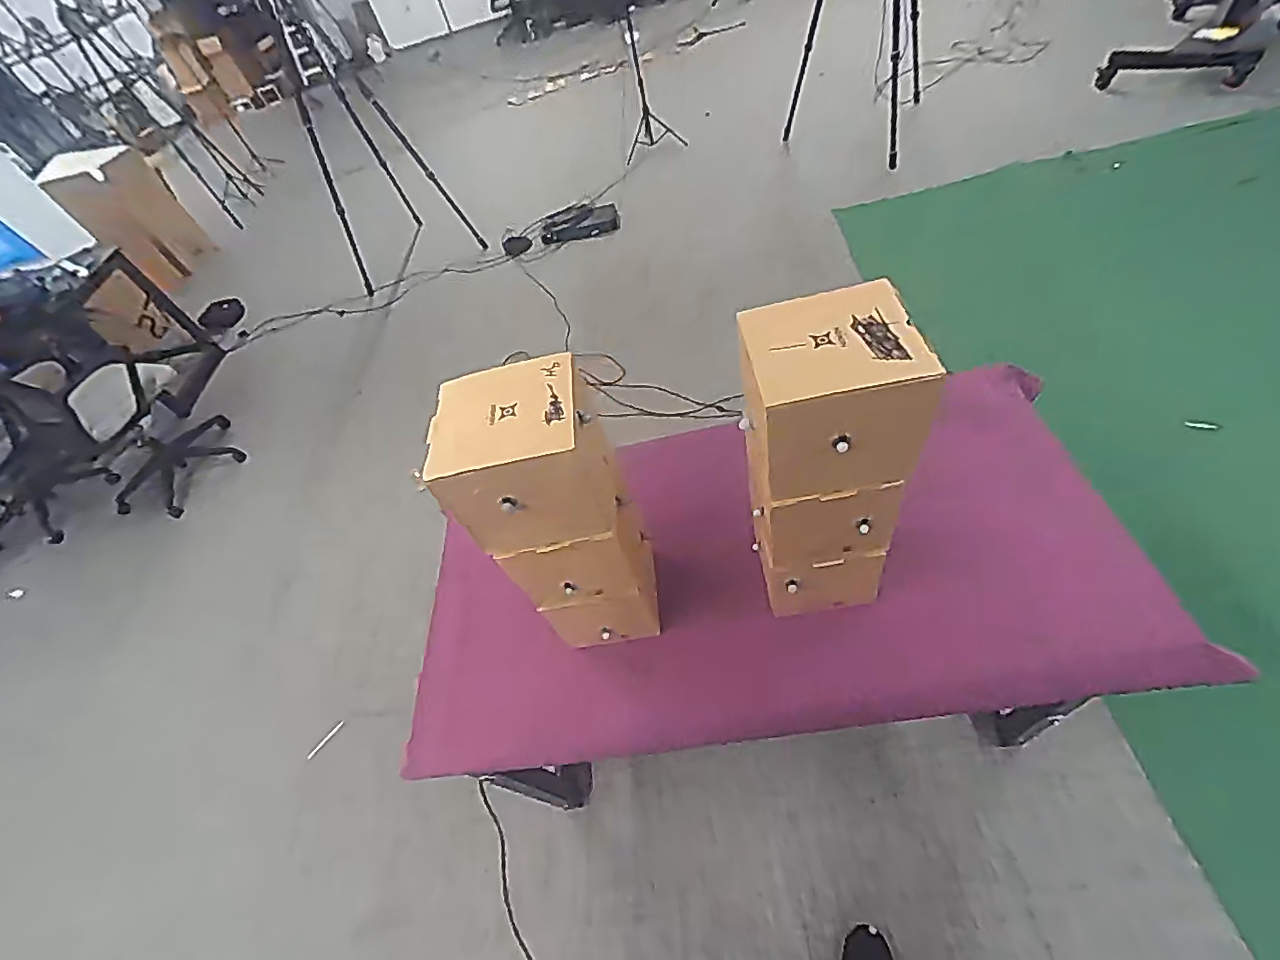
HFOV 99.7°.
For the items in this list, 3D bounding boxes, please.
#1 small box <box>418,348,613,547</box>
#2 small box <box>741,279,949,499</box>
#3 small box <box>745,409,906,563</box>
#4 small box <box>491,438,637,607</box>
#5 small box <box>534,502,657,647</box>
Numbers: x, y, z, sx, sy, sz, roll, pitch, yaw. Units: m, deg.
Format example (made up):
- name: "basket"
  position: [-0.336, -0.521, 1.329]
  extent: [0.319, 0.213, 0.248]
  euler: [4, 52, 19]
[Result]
- name: "small box"
  position: [-0.142, -0.033, 0.677]
  extent: [0.179, 0.176, 0.168]
  euler: [-12, 52, 7]
- name: "small box"
  position: [0.219, -0.098, 0.627]
  extent: [0.179, 0.176, 0.168]
  euler: [-10, 51, 8]
- name: "small box"
  position: [0.247, 0.002, 0.753]
  extent: [0.168, 0.176, 0.179]
  euler: [-10, 51, 7]
- name: "small box"
  position: [-0.104, 0.065, 0.803]
  extent: [0.168, 0.176, 0.179]
  euler: [-11, 52, 6]
- name: "small box"
  position: [-0.069, 0.164, 0.927]
  extent: [0.168, 0.176, 0.179]
  euler: [-10, 51, 8]
